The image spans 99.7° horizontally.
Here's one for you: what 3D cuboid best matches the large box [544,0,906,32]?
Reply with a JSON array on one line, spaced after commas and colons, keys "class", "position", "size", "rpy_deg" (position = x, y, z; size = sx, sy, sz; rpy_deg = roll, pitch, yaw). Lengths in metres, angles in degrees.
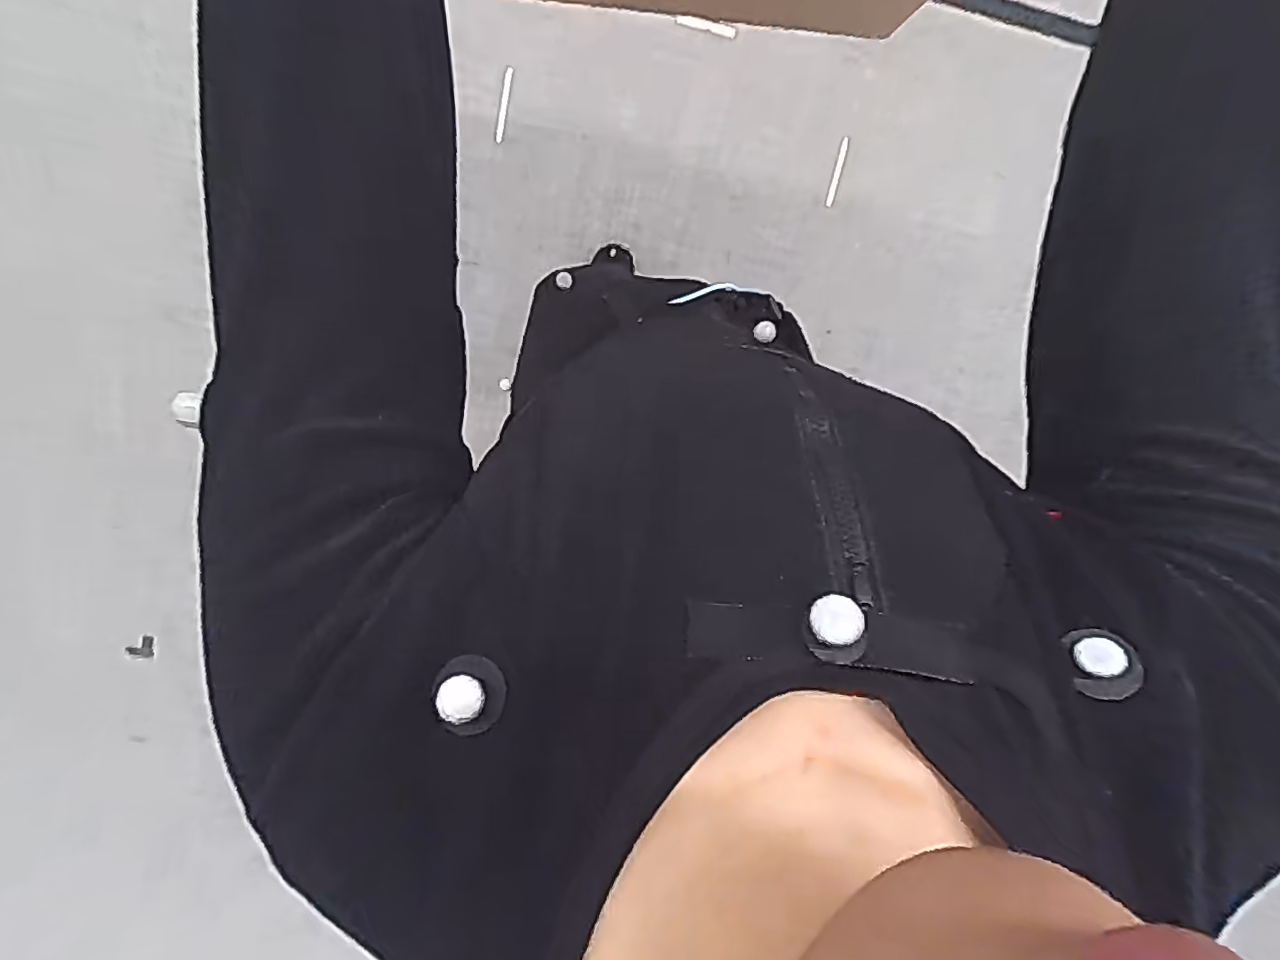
[{"class": "large box", "position": [0.067, -0.567, 0.364], "size": [0.408, 0.320, 0.320], "rpy_deg": [3, 110, -4]}]
